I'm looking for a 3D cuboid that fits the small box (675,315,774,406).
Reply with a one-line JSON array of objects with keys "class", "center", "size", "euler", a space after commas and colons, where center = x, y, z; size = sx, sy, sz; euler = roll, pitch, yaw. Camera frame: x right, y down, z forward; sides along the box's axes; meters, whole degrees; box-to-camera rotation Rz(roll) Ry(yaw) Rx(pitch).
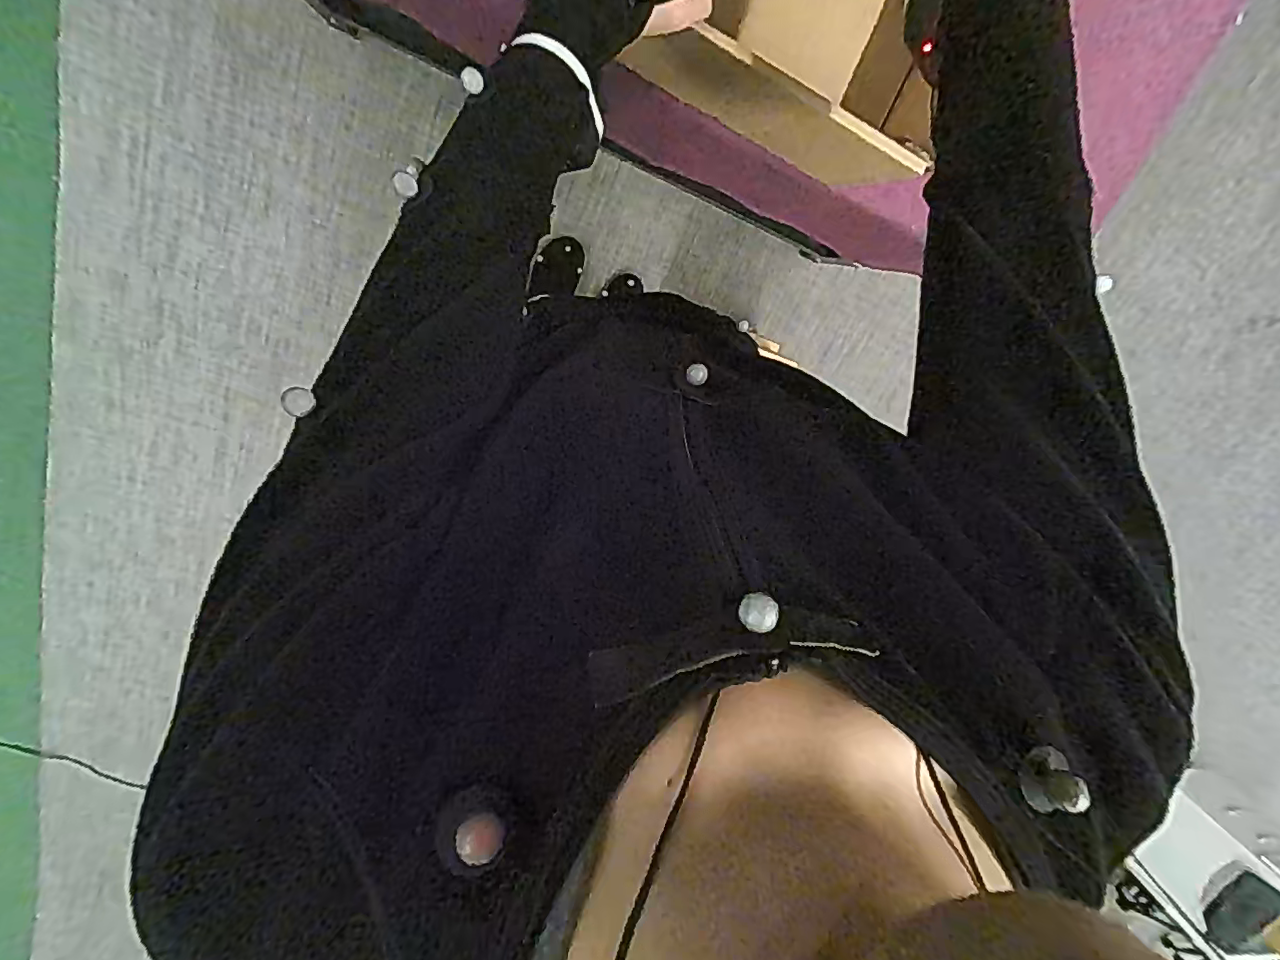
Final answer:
[{"class": "small box", "center": [0.210, -0.313, 1.394], "size": [0.179, 0.176, 0.168], "euler": [17, 110, -16]}]
